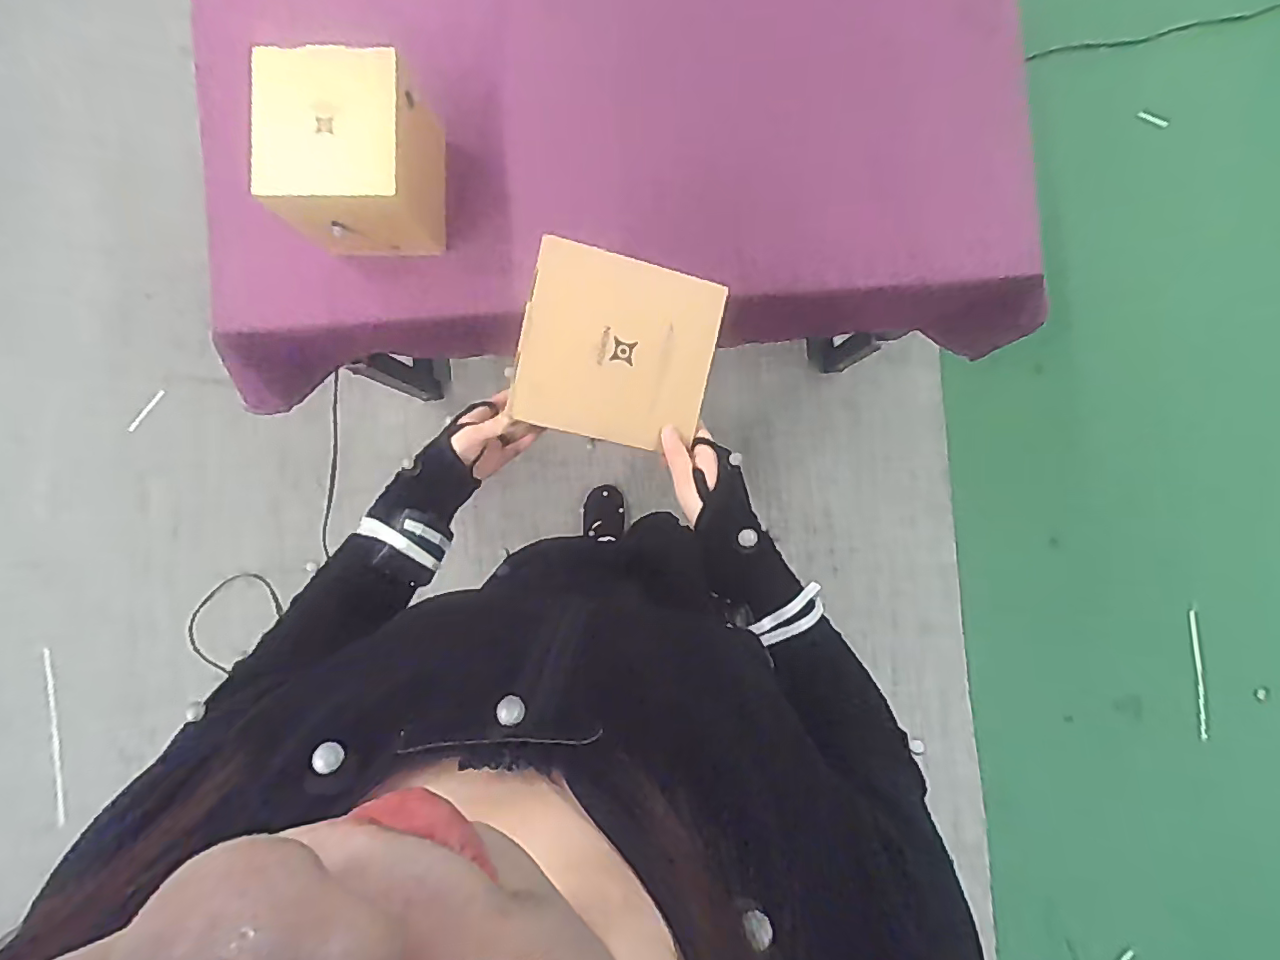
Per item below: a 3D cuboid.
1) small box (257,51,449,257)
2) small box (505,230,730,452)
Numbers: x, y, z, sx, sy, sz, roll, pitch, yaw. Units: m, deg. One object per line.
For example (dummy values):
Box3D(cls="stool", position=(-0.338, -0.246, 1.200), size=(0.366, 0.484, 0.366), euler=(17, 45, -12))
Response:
Box3D(cls="small box", position=(-0.357, -0.407, 0.702), size=(0.168, 0.176, 0.179), euler=(0, 88, 0))
Box3D(cls="small box", position=(-0.030, -0.128, 0.569), size=(0.179, 0.176, 0.168), euler=(13, 93, -10))
